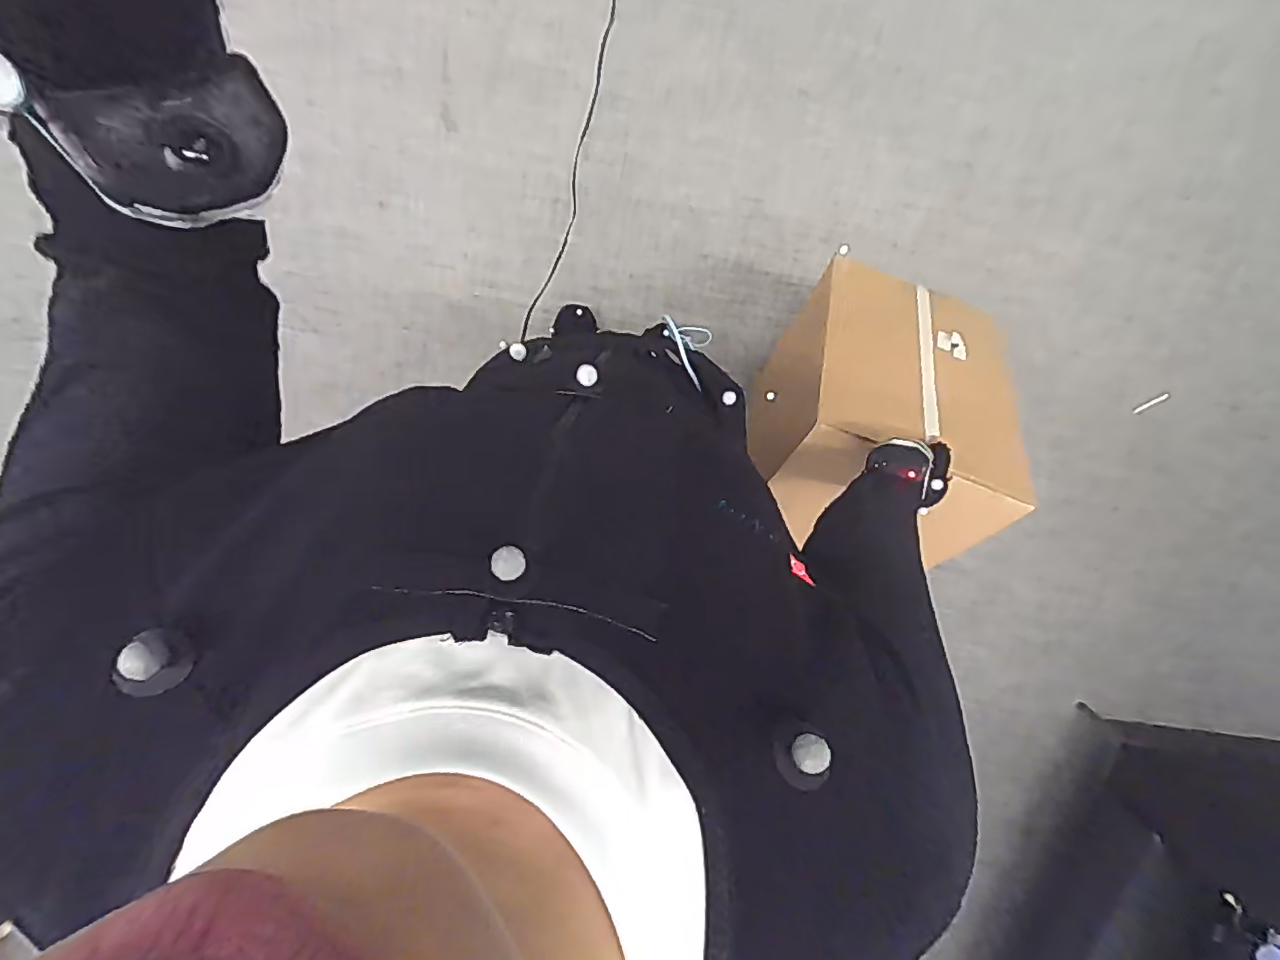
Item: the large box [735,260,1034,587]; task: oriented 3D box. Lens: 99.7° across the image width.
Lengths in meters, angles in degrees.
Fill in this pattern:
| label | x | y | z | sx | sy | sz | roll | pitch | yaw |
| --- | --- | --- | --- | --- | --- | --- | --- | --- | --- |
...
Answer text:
| label | x | y | z | sx | sy | sz | roll | pitch | yaw |
| --- | --- | --- | --- | --- | --- | --- | --- | --- | --- |
| large box | 0.384 | -0.090 | 0.928 | 0.320 | 0.408 | 0.320 | 21 | 144 | -4 |
